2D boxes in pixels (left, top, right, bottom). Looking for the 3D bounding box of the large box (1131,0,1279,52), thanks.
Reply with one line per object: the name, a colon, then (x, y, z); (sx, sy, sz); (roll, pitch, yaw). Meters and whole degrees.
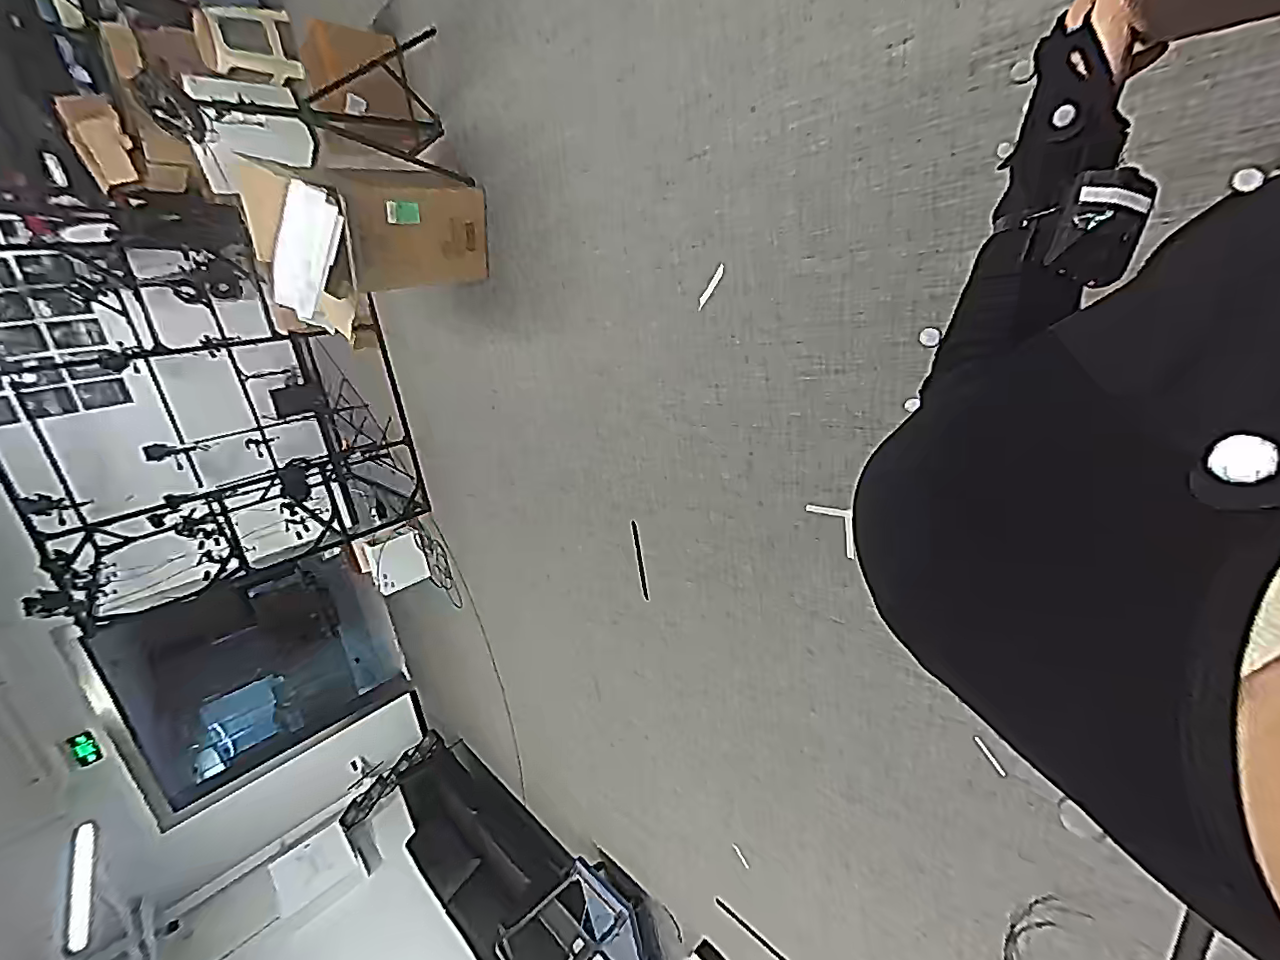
large box: (0.408, -0.367, 0.129); (0.408, 0.320, 0.320); (11, 124, 38)
